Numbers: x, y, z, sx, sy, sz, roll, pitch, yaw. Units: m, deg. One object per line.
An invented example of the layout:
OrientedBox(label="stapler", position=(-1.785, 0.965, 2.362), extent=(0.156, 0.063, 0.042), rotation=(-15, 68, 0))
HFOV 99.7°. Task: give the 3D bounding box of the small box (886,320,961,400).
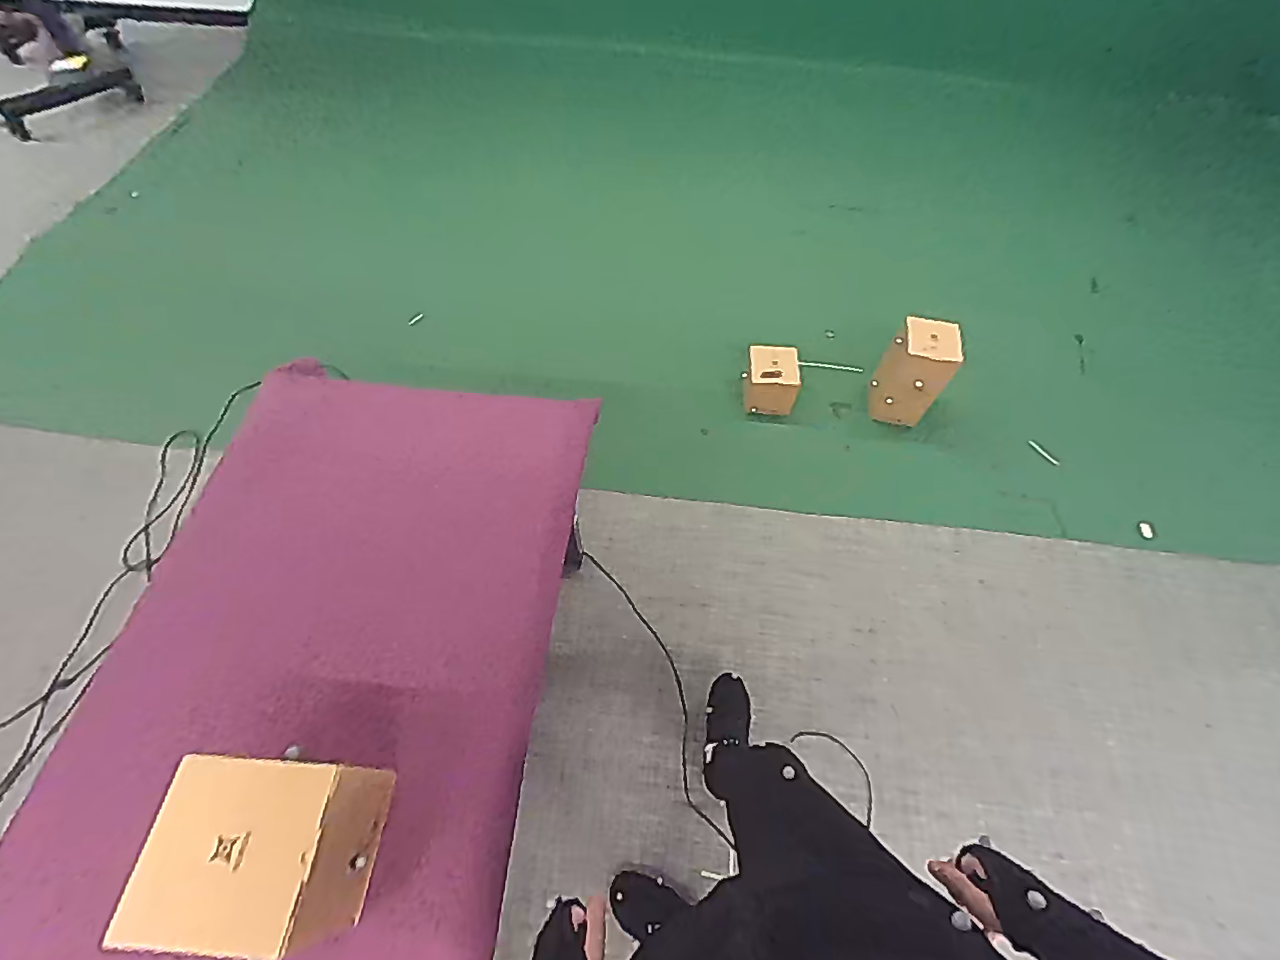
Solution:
OrientedBox(label="small box", position=(0.931, -0.394, 1.788), extent=(0.168, 0.176, 0.179), rotation=(12, 60, 6))

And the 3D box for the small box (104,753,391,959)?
OrientedBox(label="small box", position=(-0.422, 0.419, 0.622), extent=(0.179, 0.176, 0.168), rotation=(4, 59, 0))

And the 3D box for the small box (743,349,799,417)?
OrientedBox(label="small box", position=(0.465, -0.344, 1.938), extent=(0.168, 0.176, 0.179), rotation=(4, 59, 1))
